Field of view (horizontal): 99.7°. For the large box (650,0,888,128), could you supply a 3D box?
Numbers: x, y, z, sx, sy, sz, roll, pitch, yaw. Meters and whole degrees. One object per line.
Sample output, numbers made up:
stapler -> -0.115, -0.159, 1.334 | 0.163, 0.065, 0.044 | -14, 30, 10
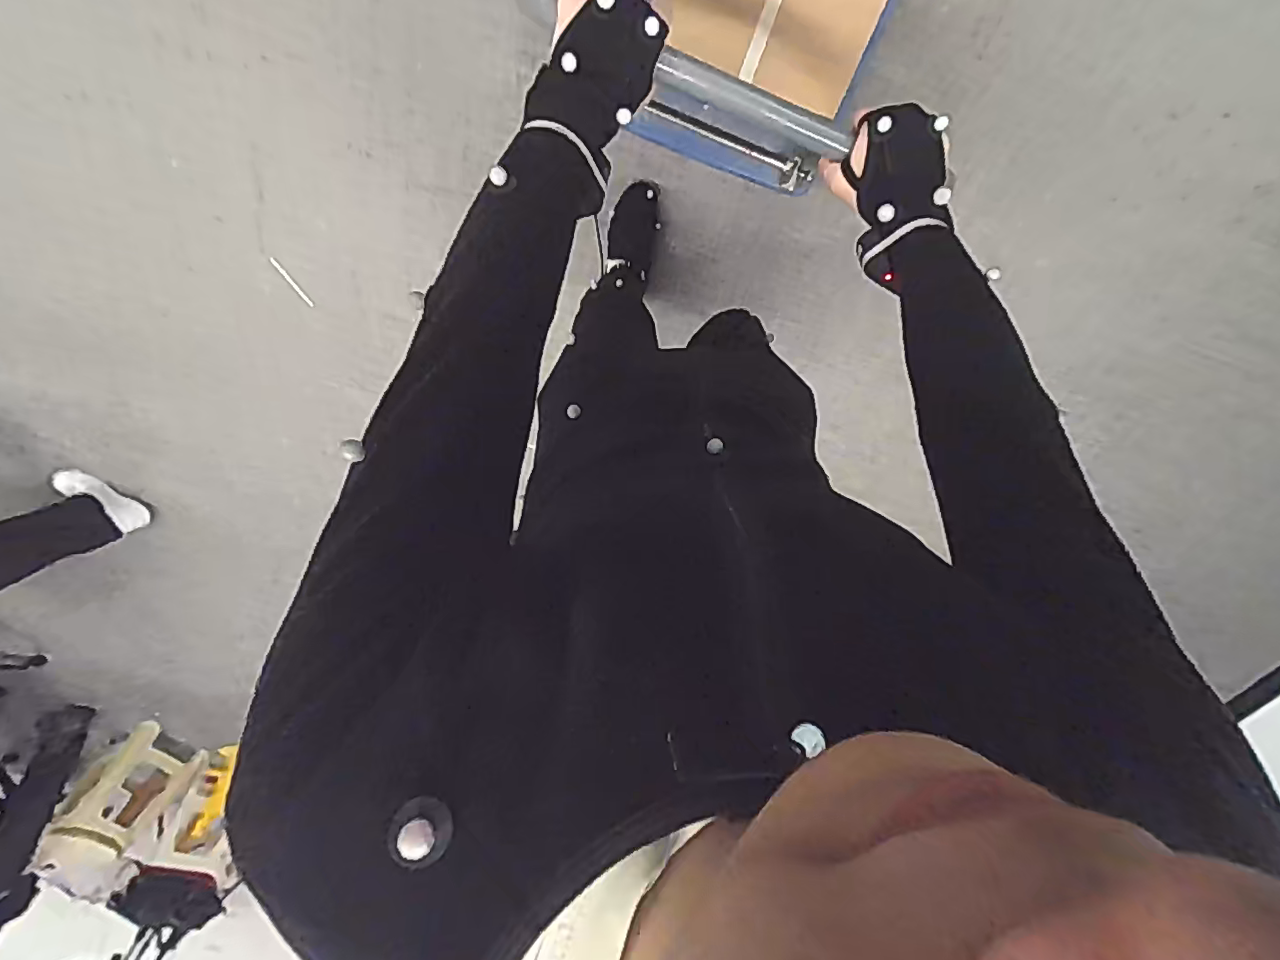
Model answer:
large box -> 0.218, -0.830, 0.843 | 0.320, 0.320, 0.408 | 16, 120, -10
